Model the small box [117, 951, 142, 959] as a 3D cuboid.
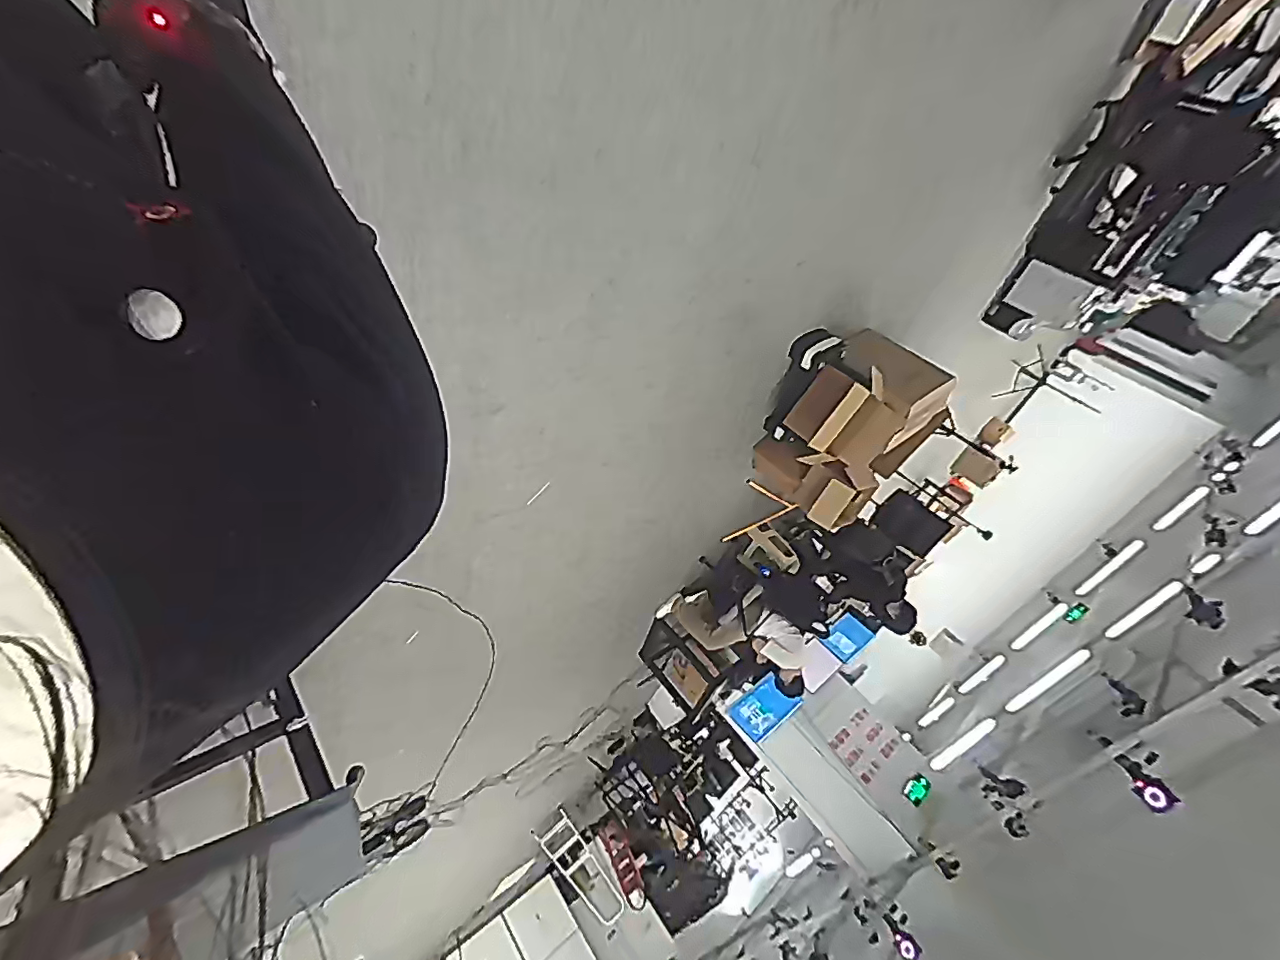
[{"bbox_3d":[-1.202,1.209,1.201,0.179,0.176,0.168,-17,139,-40],"label":"small box"}]
